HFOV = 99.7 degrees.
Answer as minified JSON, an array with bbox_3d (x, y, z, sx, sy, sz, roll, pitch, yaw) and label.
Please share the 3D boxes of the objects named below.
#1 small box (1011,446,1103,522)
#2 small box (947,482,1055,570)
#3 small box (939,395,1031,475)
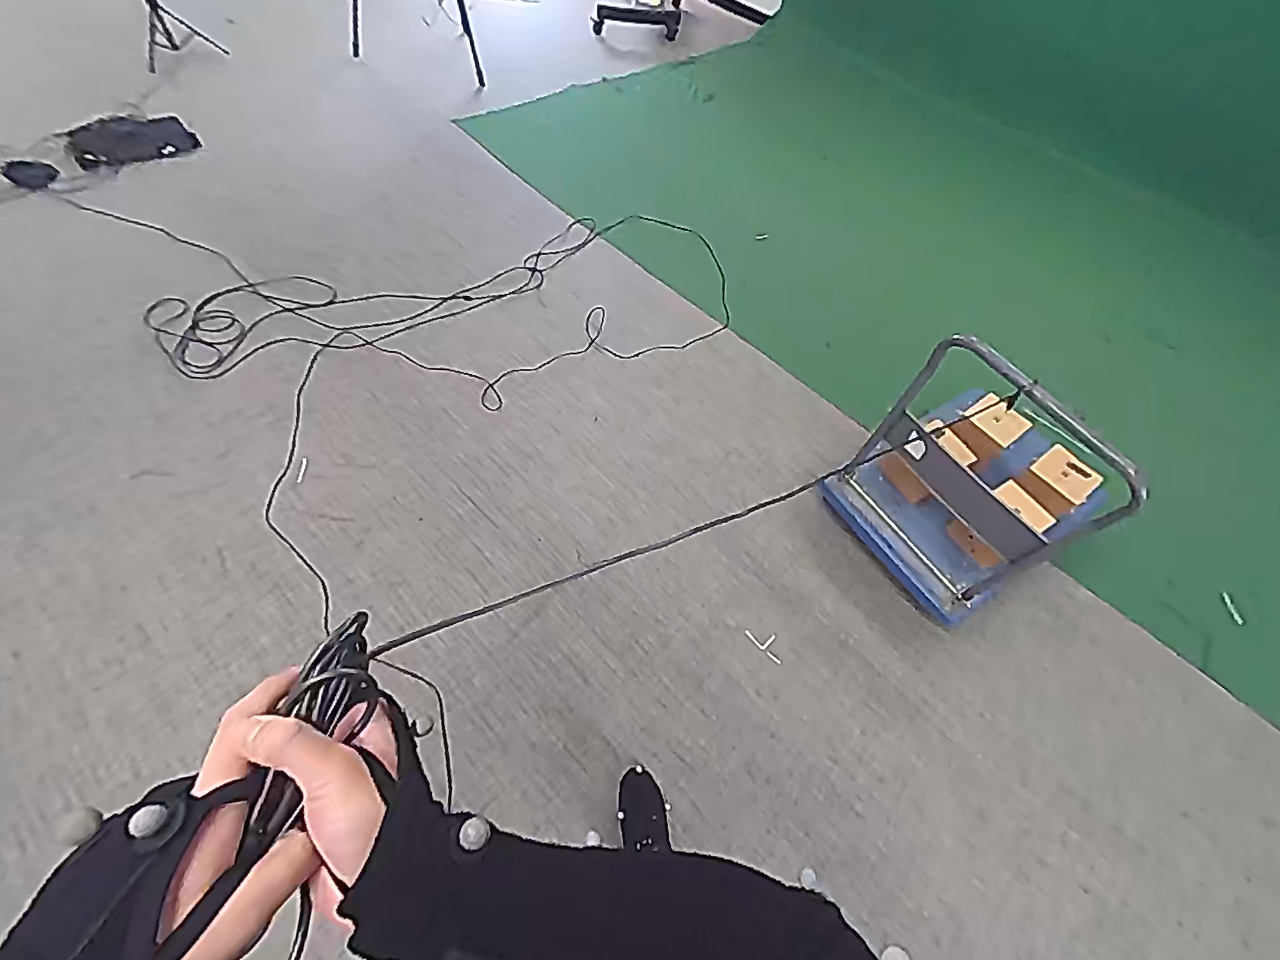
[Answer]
[{"bbox_3d":[1.302,0.029,1.726,0.179,0.176,0.168,-30,64,-22],"label":"small box"},{"bbox_3d":[1.076,0.142,1.628,0.179,0.176,0.168,-25,64,-21],"label":"small box"},{"bbox_3d":[1.152,-0.147,1.823,0.179,0.176,0.168,-30,66,-23],"label":"small box"}]
